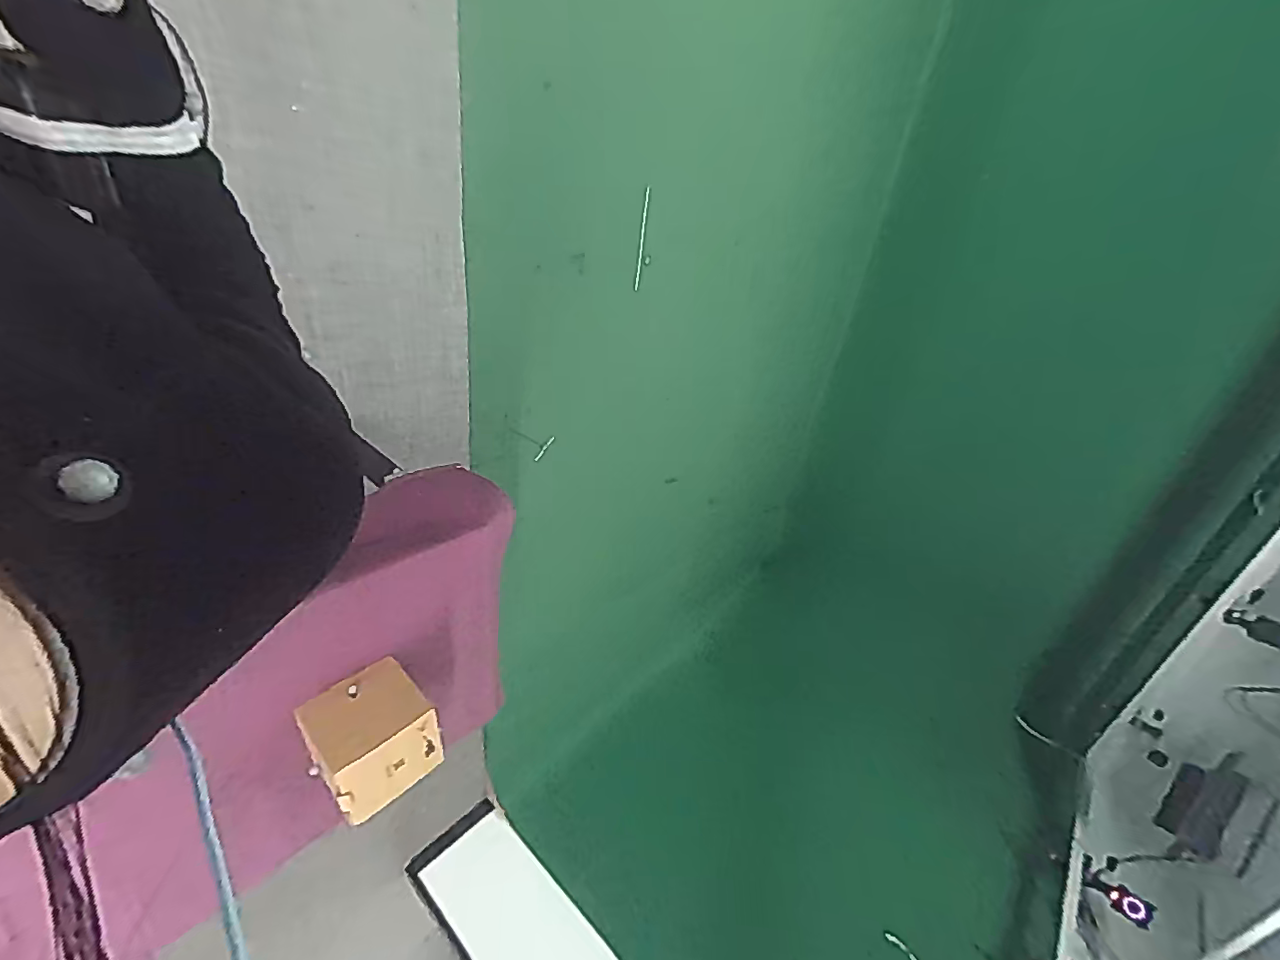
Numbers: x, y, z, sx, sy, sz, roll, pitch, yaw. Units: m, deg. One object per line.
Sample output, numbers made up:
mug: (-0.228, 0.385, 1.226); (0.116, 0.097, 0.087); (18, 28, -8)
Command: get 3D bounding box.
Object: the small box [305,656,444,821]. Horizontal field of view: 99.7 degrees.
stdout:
small box: (-0.491, 0.467, 1.000); (0.179, 0.176, 0.168); (-26, 134, -41)
